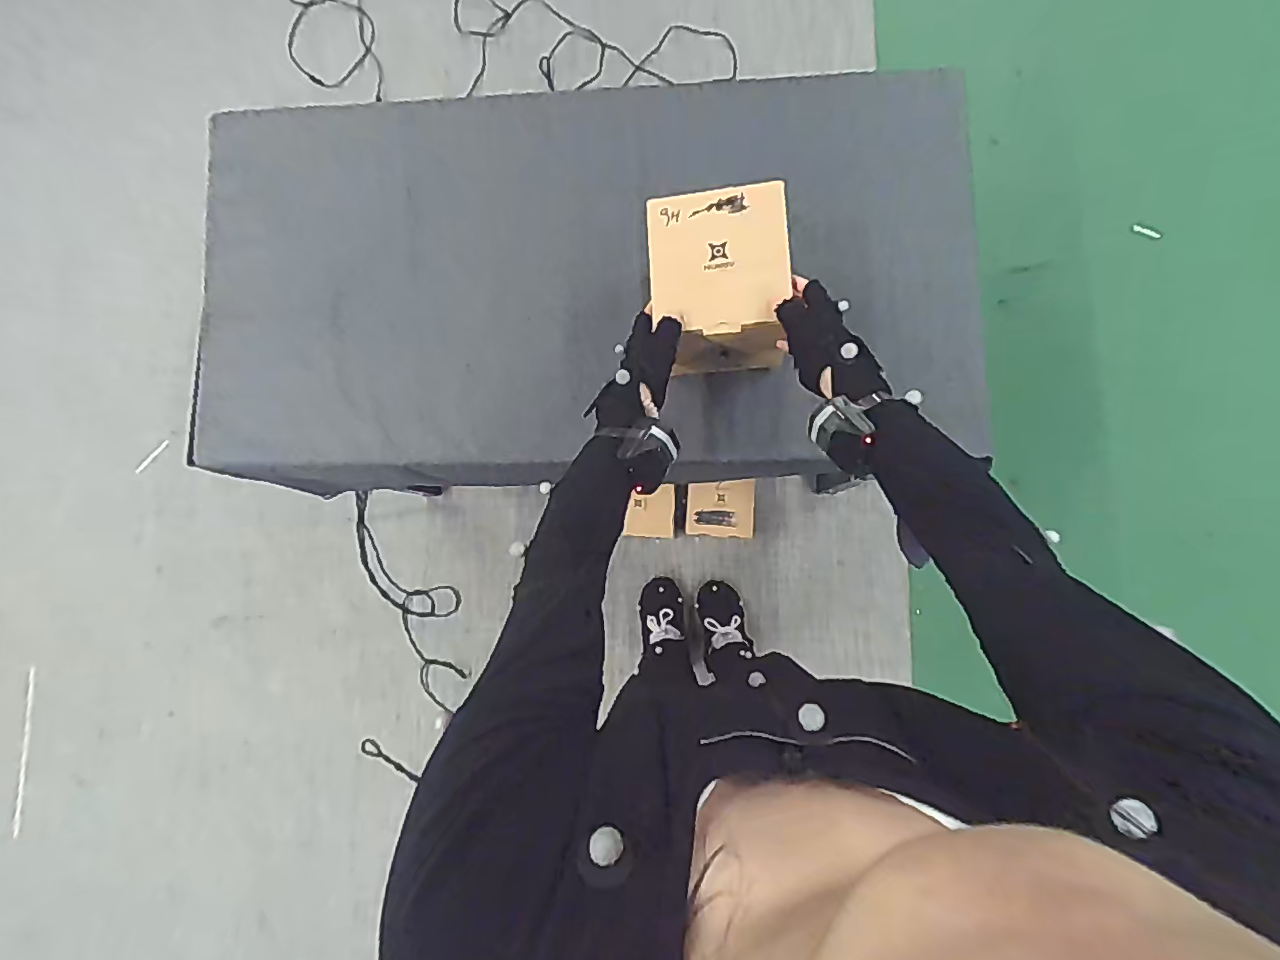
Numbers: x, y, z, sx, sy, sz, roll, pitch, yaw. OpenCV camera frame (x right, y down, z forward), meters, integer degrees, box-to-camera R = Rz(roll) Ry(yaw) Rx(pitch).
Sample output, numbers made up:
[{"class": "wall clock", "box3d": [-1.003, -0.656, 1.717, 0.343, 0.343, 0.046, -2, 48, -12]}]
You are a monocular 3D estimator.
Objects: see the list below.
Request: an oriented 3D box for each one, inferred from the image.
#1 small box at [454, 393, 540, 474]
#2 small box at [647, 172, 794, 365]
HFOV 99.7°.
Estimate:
[{"class": "small box", "box3d": [-0.377, -0.121, 1.461, 0.168, 0.176, 0.179, 7, 84, 6]}, {"class": "small box", "box3d": [0.105, -0.255, 0.702, 0.168, 0.176, 0.179, -3, 84, 9]}]
